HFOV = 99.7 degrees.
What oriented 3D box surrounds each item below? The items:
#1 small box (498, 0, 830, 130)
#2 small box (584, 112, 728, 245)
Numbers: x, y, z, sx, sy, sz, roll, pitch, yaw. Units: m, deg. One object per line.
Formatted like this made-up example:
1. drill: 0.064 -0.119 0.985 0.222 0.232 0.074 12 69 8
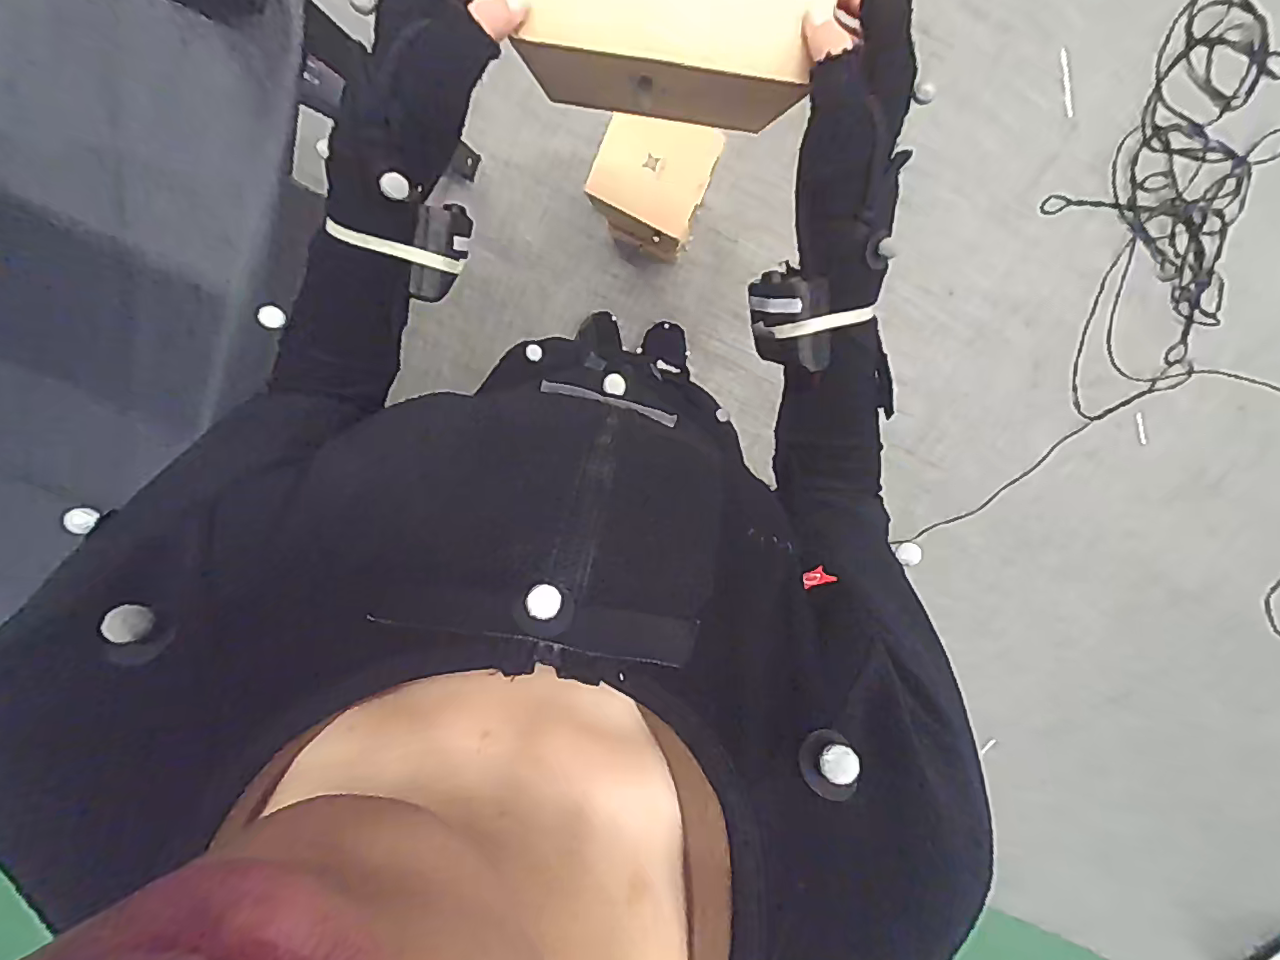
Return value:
1. small box: 0.020 -0.332 0.335 0.179 0.176 0.168 6 116 -4
2. small box: 0.024 -0.515 0.911 0.179 0.176 0.168 24 107 -7
